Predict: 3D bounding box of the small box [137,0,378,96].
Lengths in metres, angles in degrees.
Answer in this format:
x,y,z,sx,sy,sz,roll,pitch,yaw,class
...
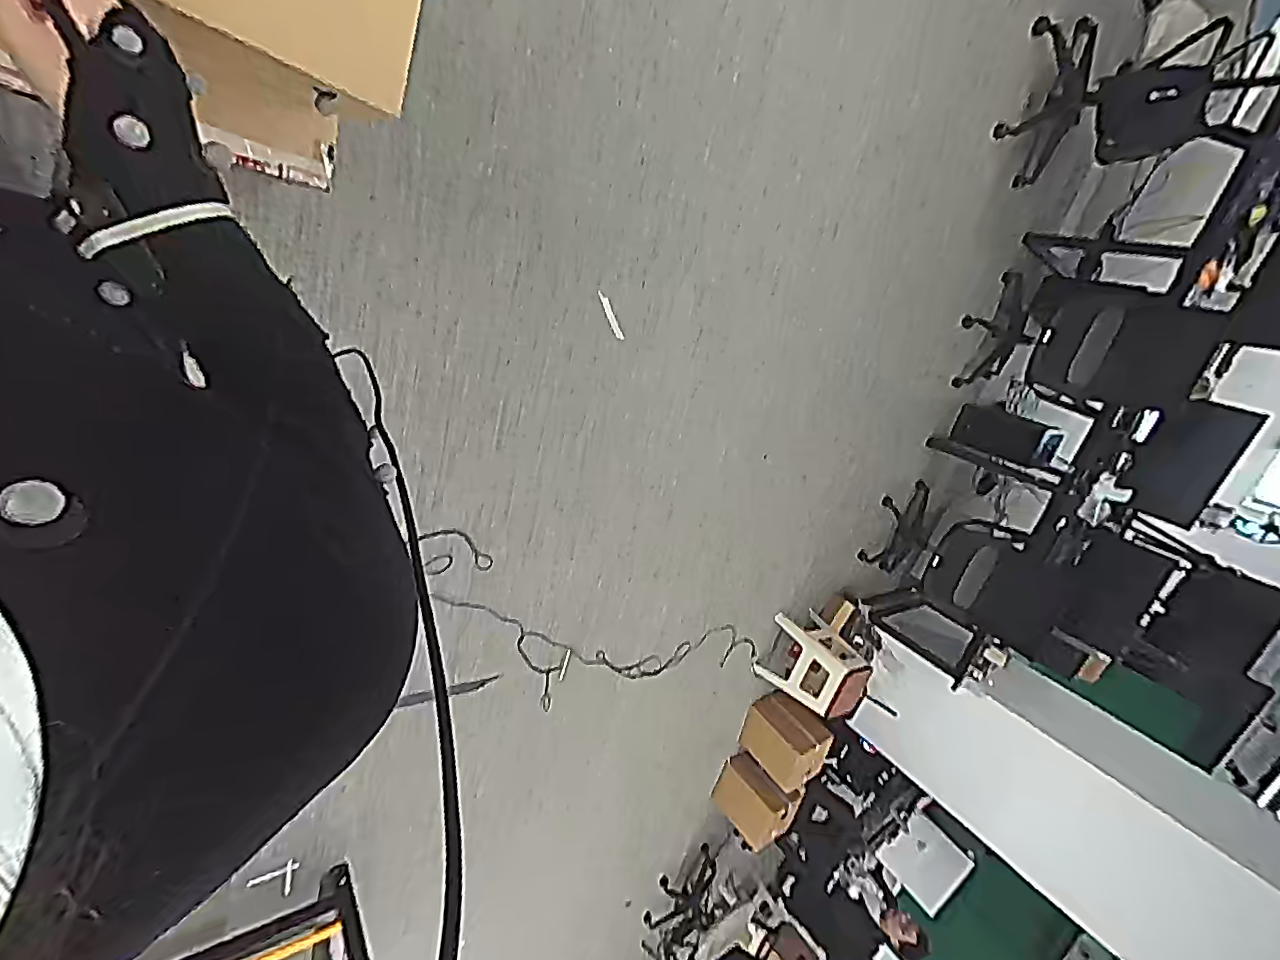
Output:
x,y,z,sx,sy,sz,roll,pitch,yaw,class
-0.370,-0.503,0.524,0.179,0.176,0.168,8,111,-45,small box
